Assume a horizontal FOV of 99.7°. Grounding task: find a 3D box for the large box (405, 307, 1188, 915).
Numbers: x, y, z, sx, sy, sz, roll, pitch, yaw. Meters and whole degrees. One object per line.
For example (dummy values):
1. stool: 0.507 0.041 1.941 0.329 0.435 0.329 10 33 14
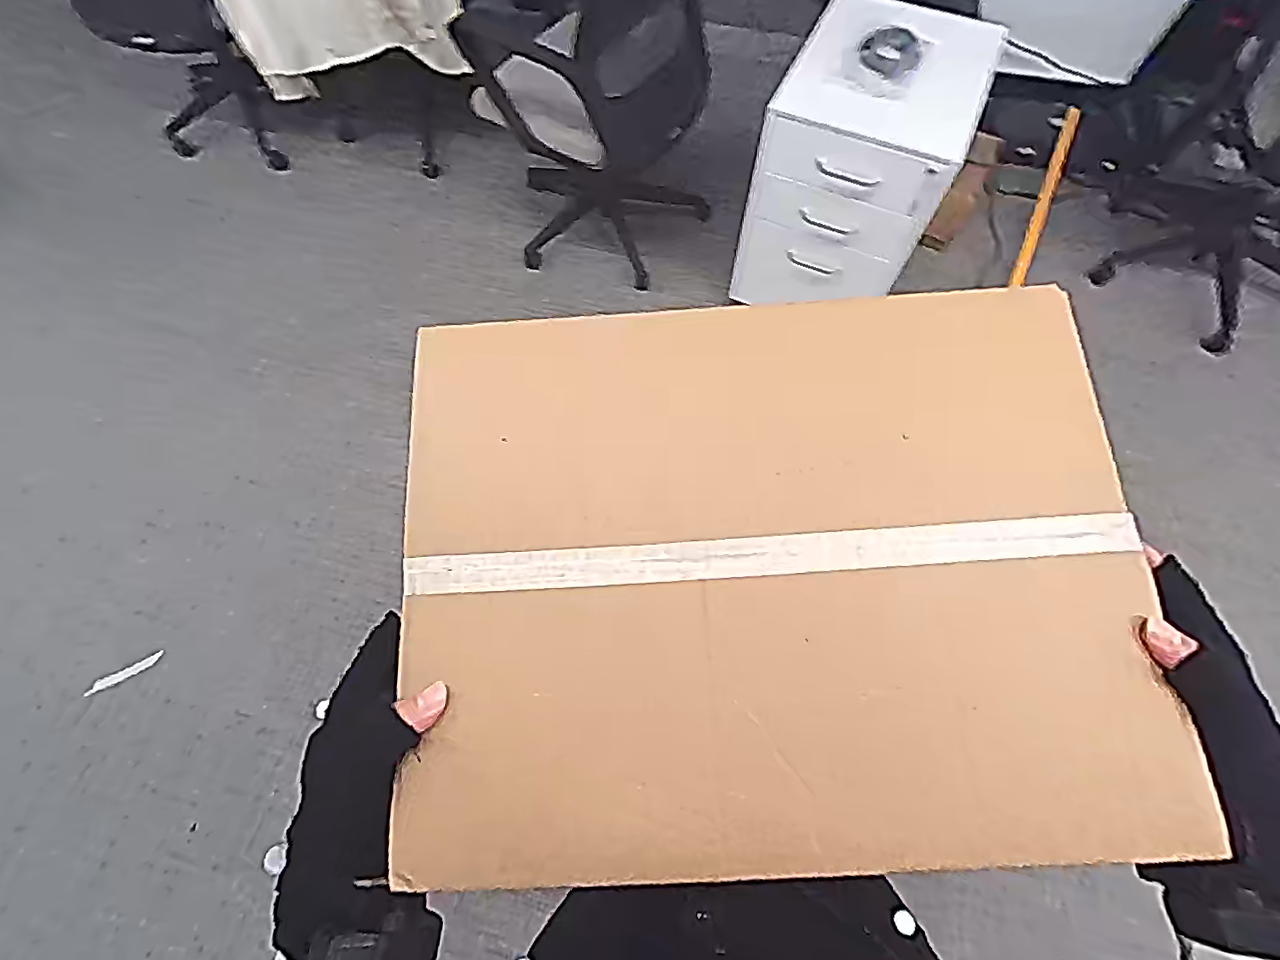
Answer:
1. large box: 0.073 0.091 0.451 0.408 0.320 0.320 -5 75 1
